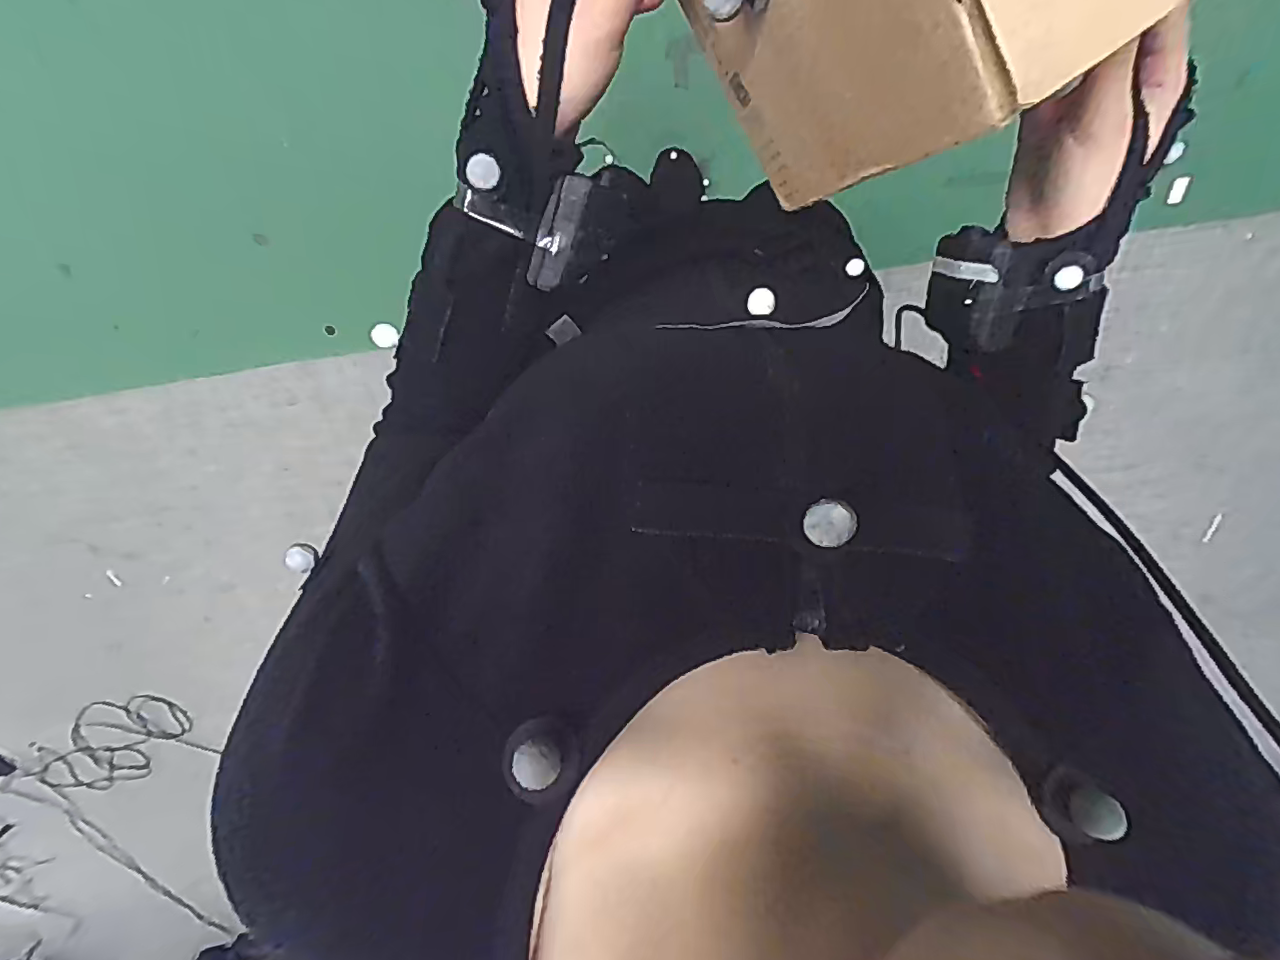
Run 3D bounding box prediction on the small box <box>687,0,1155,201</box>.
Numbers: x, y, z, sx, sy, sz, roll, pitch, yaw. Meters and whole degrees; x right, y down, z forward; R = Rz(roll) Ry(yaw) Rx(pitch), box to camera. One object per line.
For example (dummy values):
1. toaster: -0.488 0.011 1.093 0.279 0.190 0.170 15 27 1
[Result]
1. small box: 0.107 -0.224 0.179 0.179 0.176 0.168 -33 108 8
